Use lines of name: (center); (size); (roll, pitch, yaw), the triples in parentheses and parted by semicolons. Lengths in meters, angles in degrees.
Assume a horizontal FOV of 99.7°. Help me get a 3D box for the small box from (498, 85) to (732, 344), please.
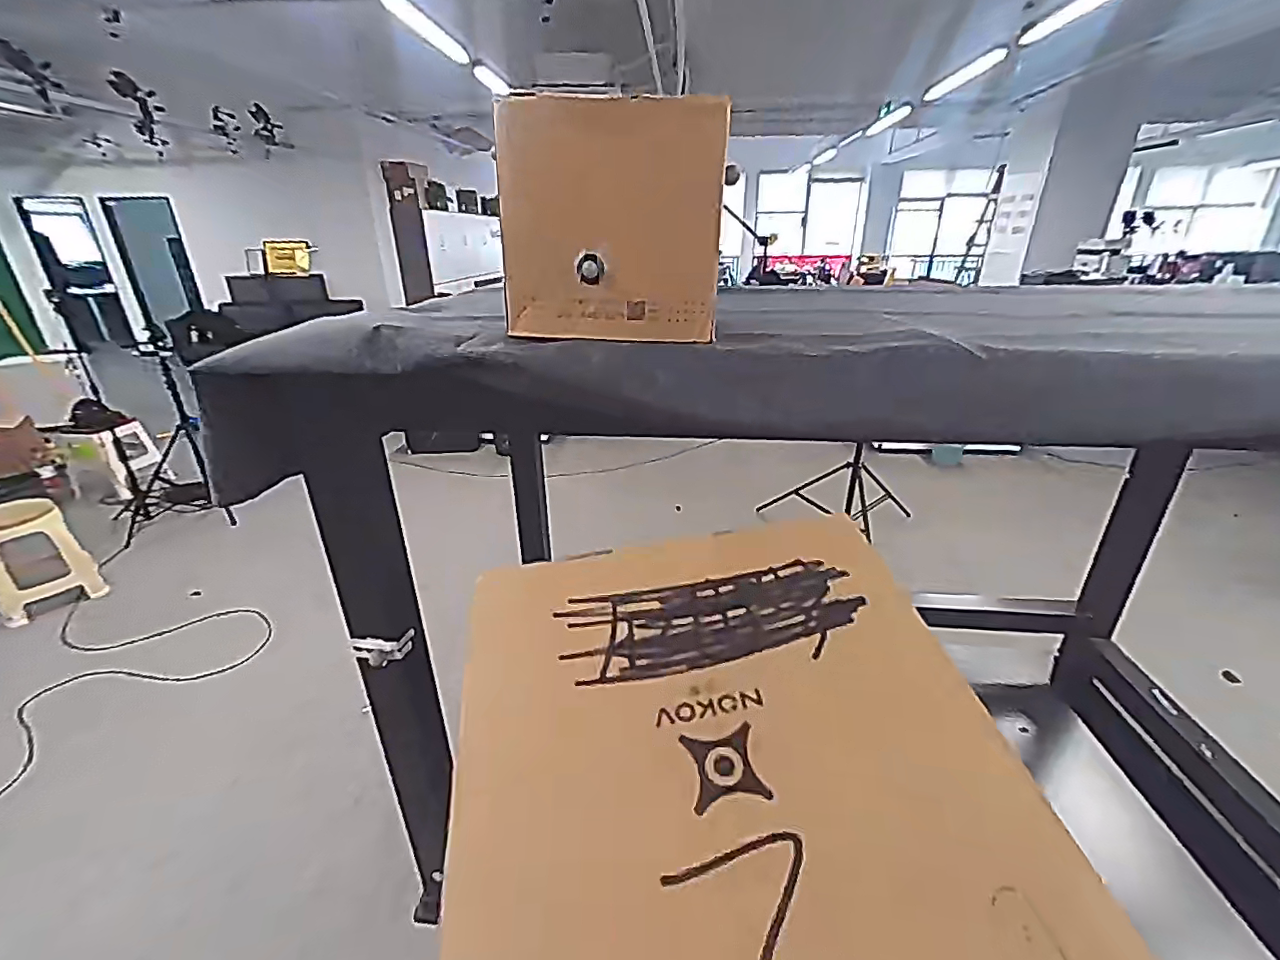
small box: (-0.015, -0.221, 0.474); (0.168, 0.176, 0.179); (2, 23, 3)
